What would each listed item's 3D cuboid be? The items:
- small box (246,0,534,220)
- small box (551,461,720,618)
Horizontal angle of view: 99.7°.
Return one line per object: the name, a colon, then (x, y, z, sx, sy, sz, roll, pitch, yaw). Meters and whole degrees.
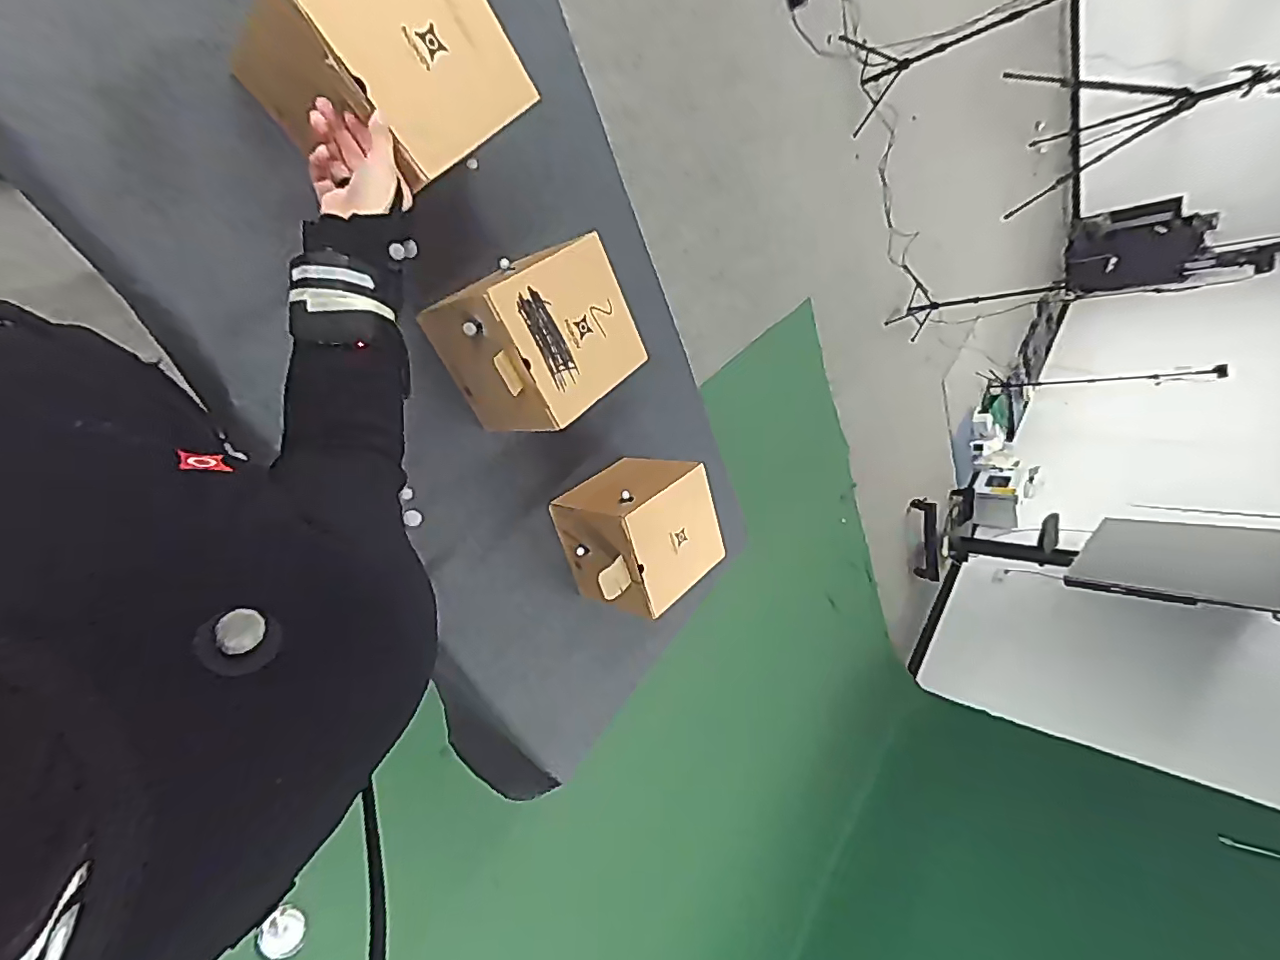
small box: (-0.247, -0.391, 0.535, 0.179, 0.176, 0.168, -56, 131, -26)
small box: (-0.005, 0.078, 0.831, 0.179, 0.176, 0.168, -33, 117, -37)
